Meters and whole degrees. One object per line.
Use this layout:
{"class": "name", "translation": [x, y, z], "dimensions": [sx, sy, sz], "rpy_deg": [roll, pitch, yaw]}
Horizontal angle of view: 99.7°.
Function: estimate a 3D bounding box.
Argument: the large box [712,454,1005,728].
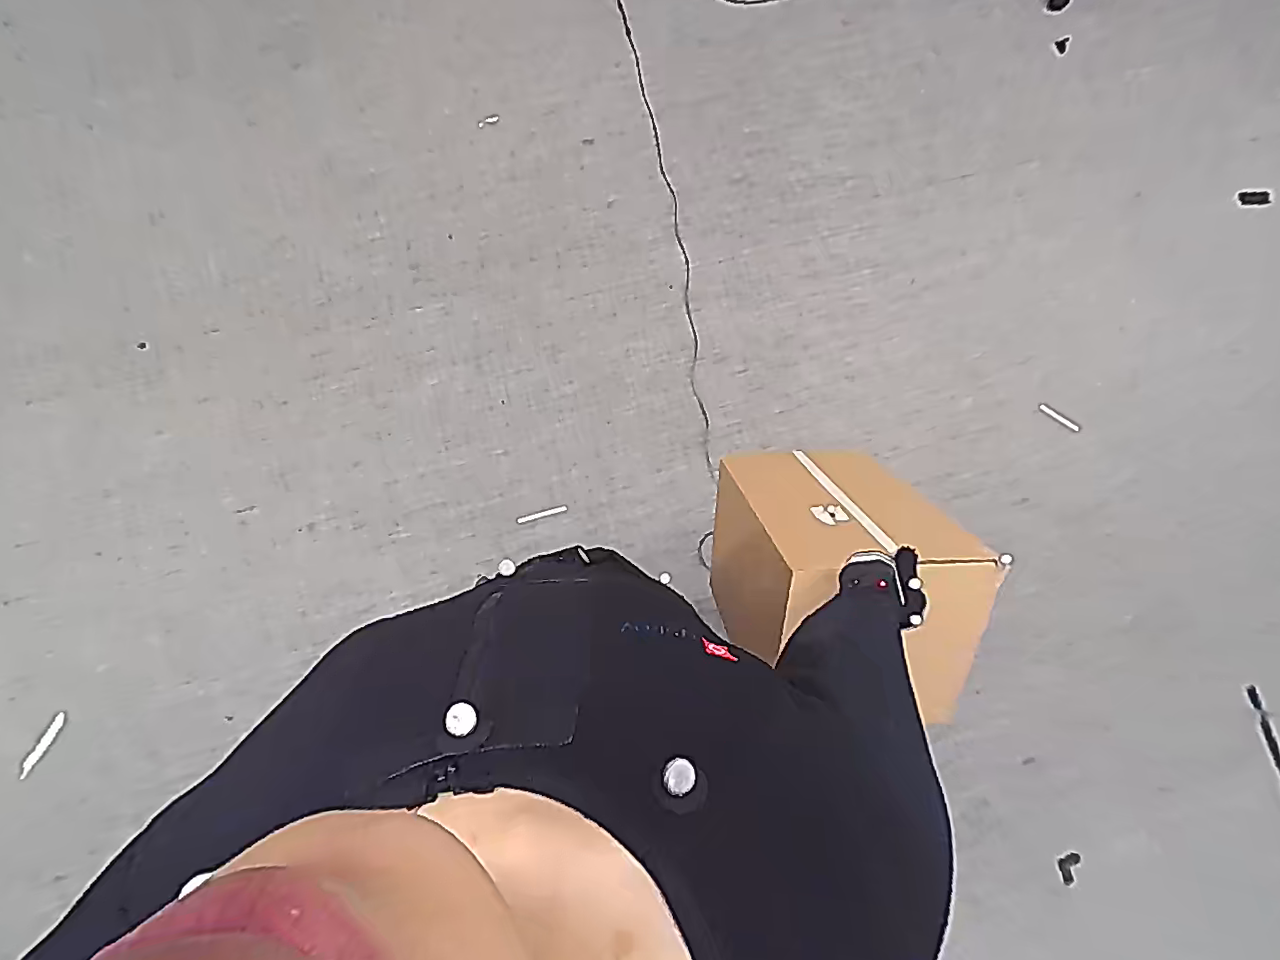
{"class": "large box", "translation": [0.338, 0.173, 0.987], "dimensions": [0.320, 0.408, 0.320], "rpy_deg": [-2, 117, -6]}
